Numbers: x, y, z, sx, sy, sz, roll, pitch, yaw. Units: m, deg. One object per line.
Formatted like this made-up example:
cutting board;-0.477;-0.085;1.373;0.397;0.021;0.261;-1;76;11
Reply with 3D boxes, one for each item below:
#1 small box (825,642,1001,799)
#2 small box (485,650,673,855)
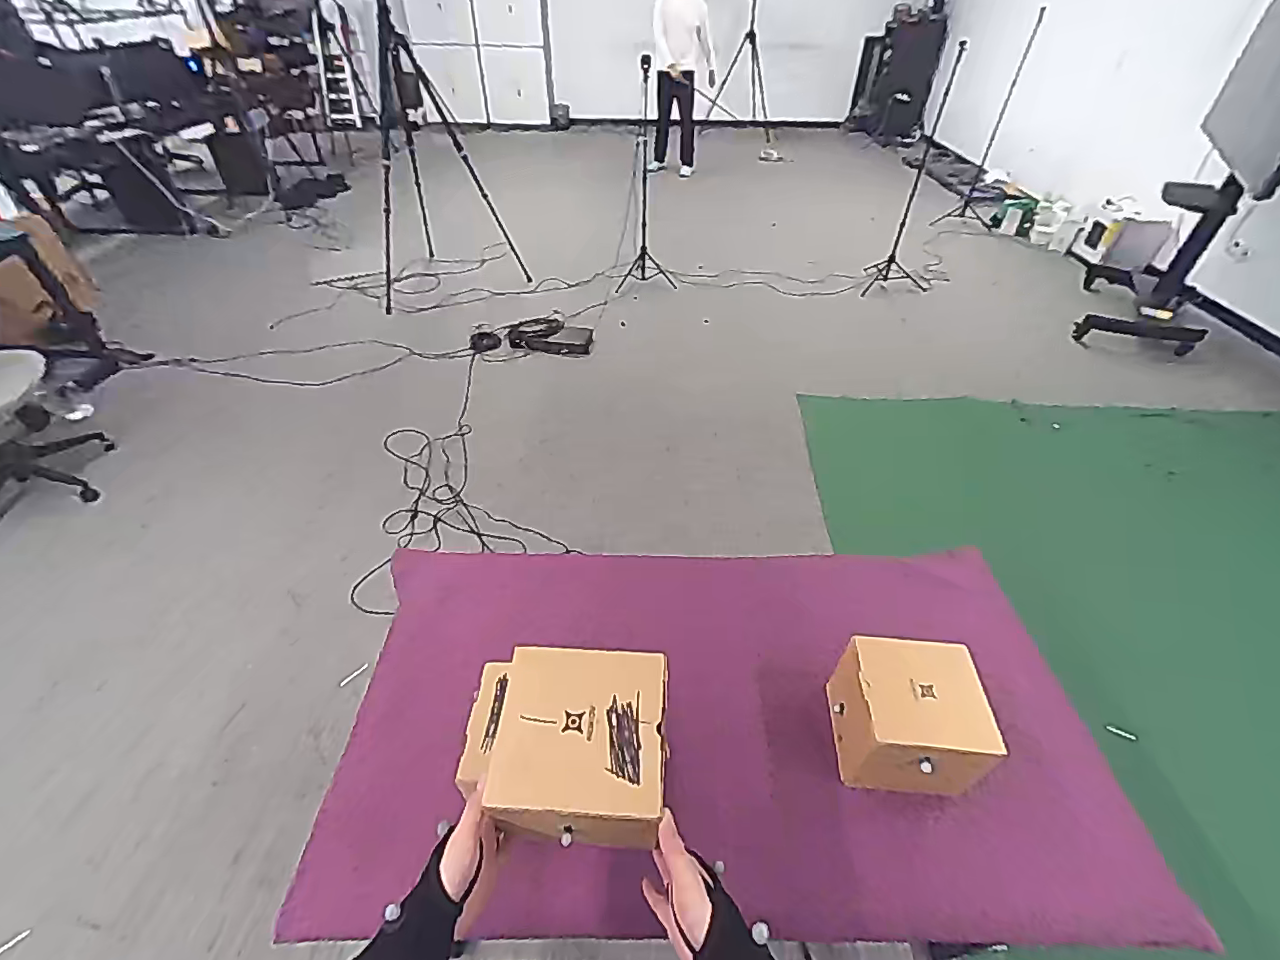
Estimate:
small box;0.407;0.377;0.842;0.179;0.176;0.168;4;43;4
small box;-0.057;0.315;0.620;0.179;0.176;0.168;4;47;2
